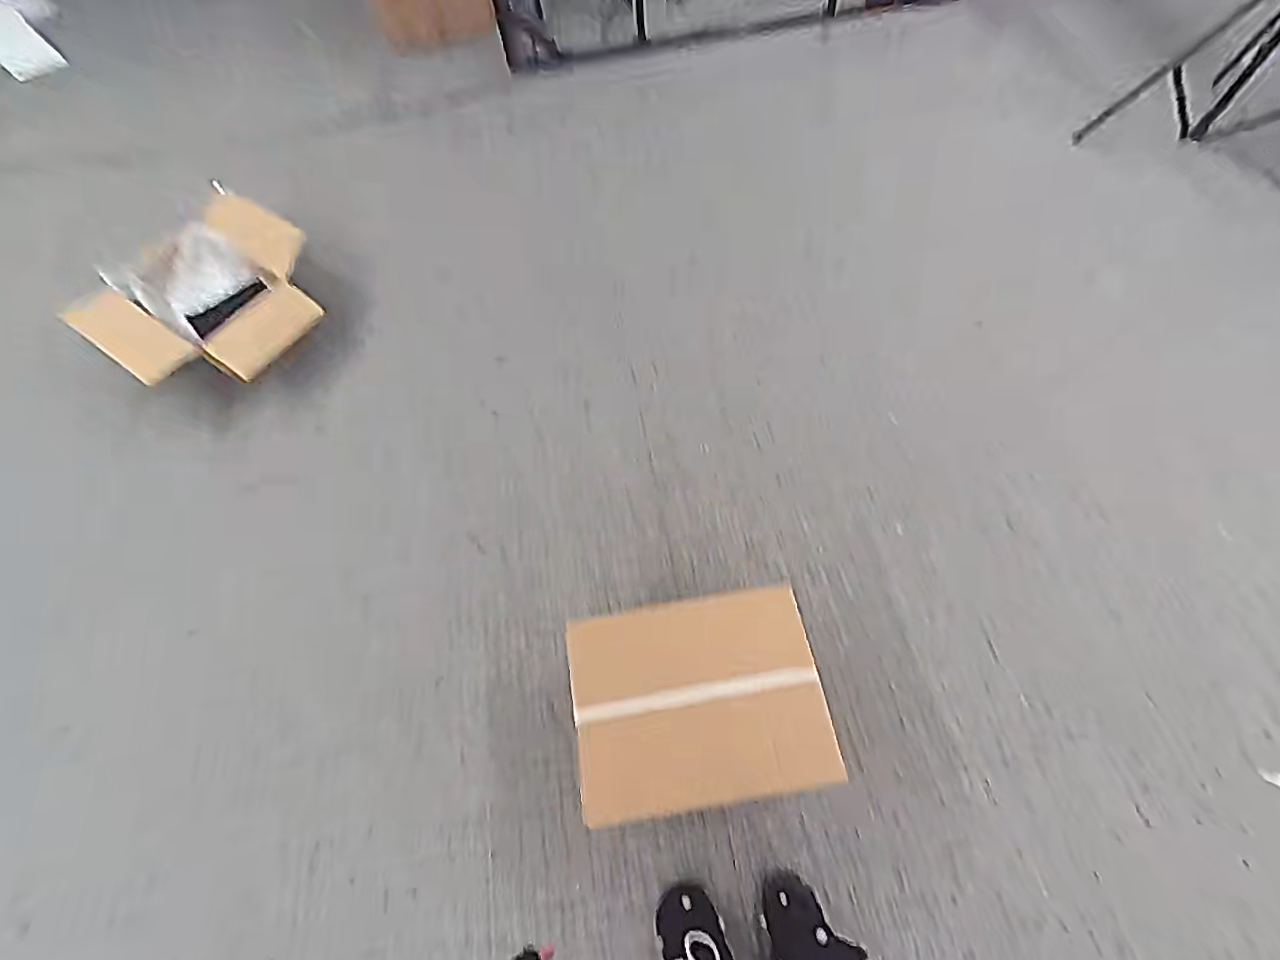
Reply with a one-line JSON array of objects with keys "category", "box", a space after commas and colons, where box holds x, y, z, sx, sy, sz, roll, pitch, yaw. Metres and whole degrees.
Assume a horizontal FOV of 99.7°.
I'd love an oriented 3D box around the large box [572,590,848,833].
[{"category": "large box", "box": [0.109, 0.433, 1.017, 0.408, 0.320, 0.320, -10, 63, -1]}]
